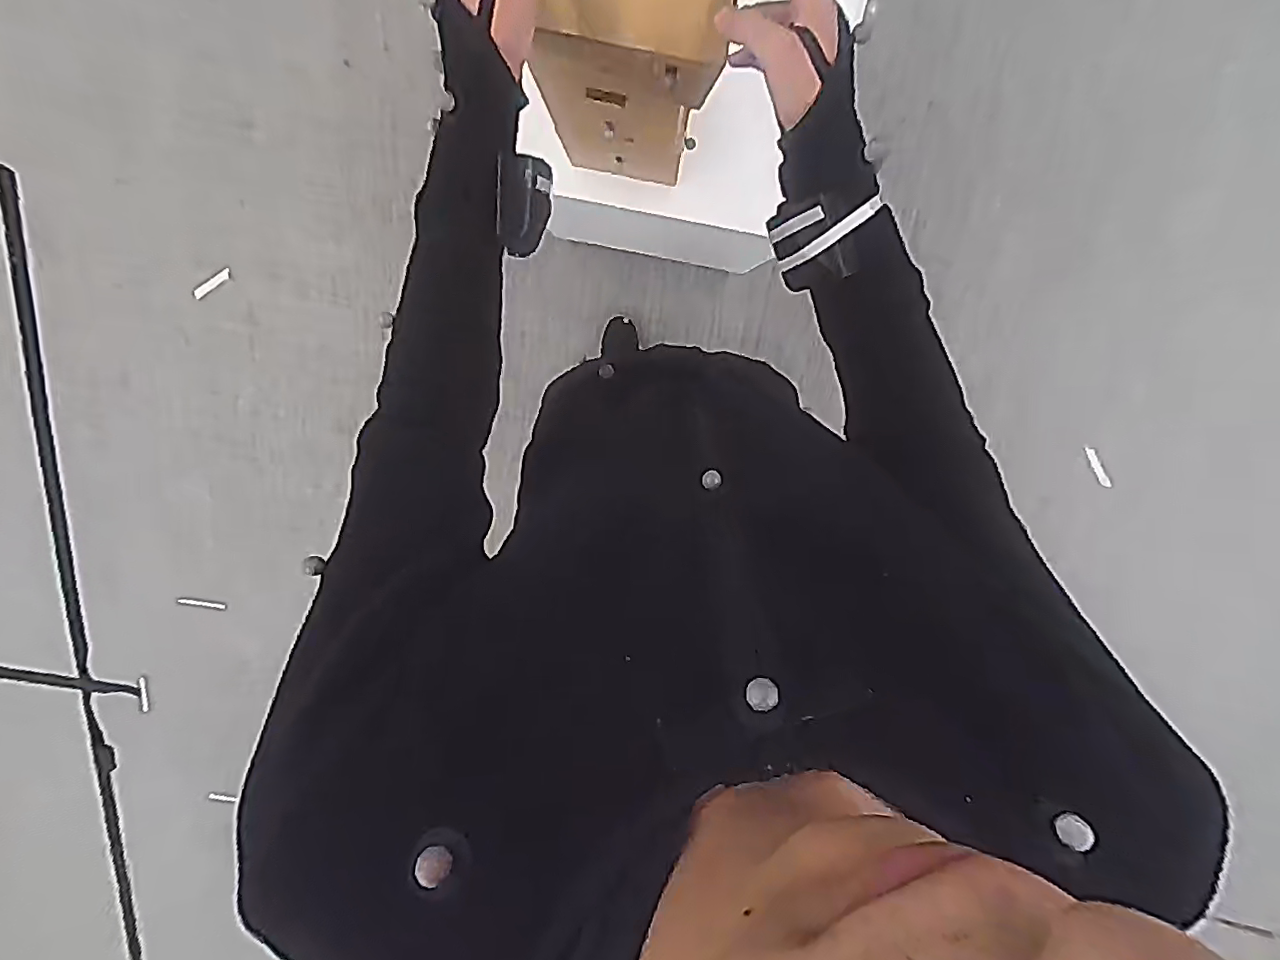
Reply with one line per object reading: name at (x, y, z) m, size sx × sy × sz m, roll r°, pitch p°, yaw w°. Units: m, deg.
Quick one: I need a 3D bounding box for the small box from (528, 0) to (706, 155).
small box at (-0.018, -0.510, 0.621) m, size 0.168 × 0.176 × 0.179 m, roll 12°, pitch 105°, yaw -2°
